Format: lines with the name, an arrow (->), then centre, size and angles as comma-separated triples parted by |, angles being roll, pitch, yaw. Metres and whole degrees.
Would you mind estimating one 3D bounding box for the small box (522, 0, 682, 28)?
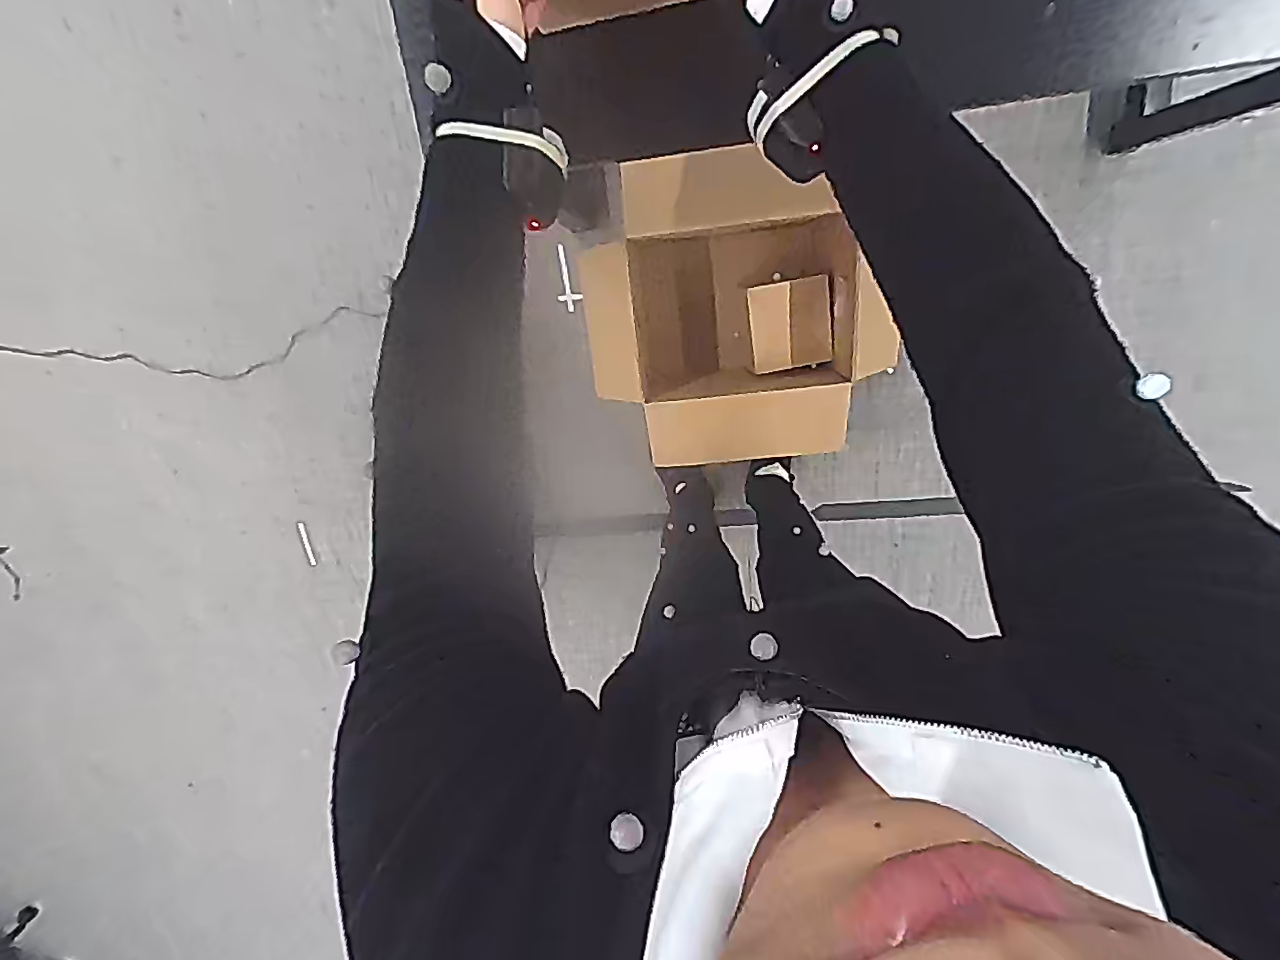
small box -> -0.027, -0.478, 0.400 | 0.179, 0.176, 0.168 | -7, 112, 6
